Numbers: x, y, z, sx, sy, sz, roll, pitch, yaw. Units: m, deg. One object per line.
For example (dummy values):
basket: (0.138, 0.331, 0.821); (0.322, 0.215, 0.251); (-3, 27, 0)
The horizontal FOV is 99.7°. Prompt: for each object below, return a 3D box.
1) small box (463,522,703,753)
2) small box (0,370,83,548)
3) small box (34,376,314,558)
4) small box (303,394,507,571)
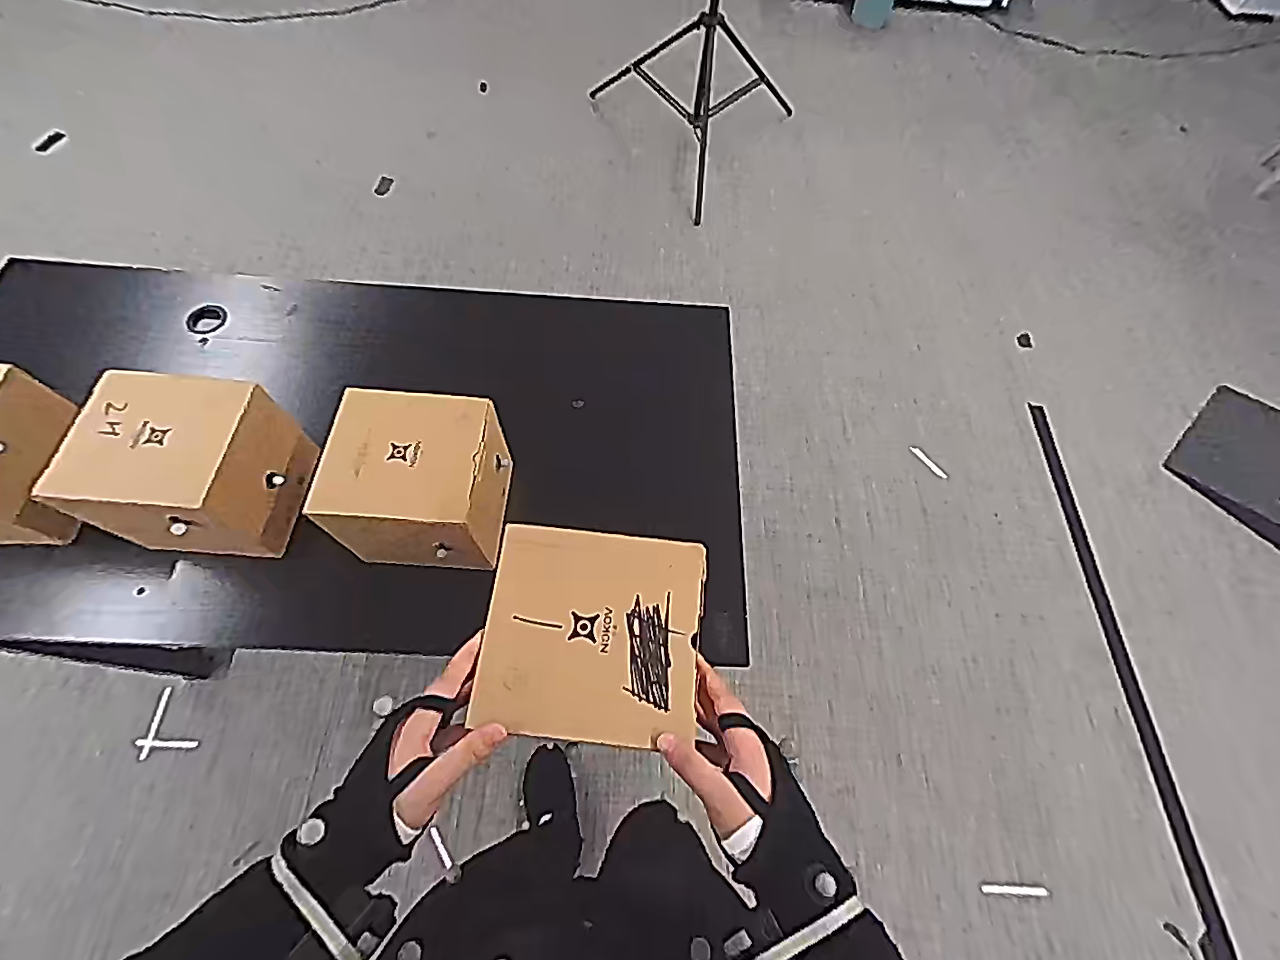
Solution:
small box: (-0.044, 0.152, 0.512); (0.179, 0.176, 0.168); (7, 66, 0)
small box: (-0.820, -0.020, 0.662); (0.179, 0.176, 0.168); (1, 64, -3)
small box: (-0.547, -0.007, 0.673); (0.179, 0.176, 0.168); (4, 63, -2)
small box: (-0.275, 0.011, 0.684); (0.179, 0.176, 0.168); (3, 63, -2)
